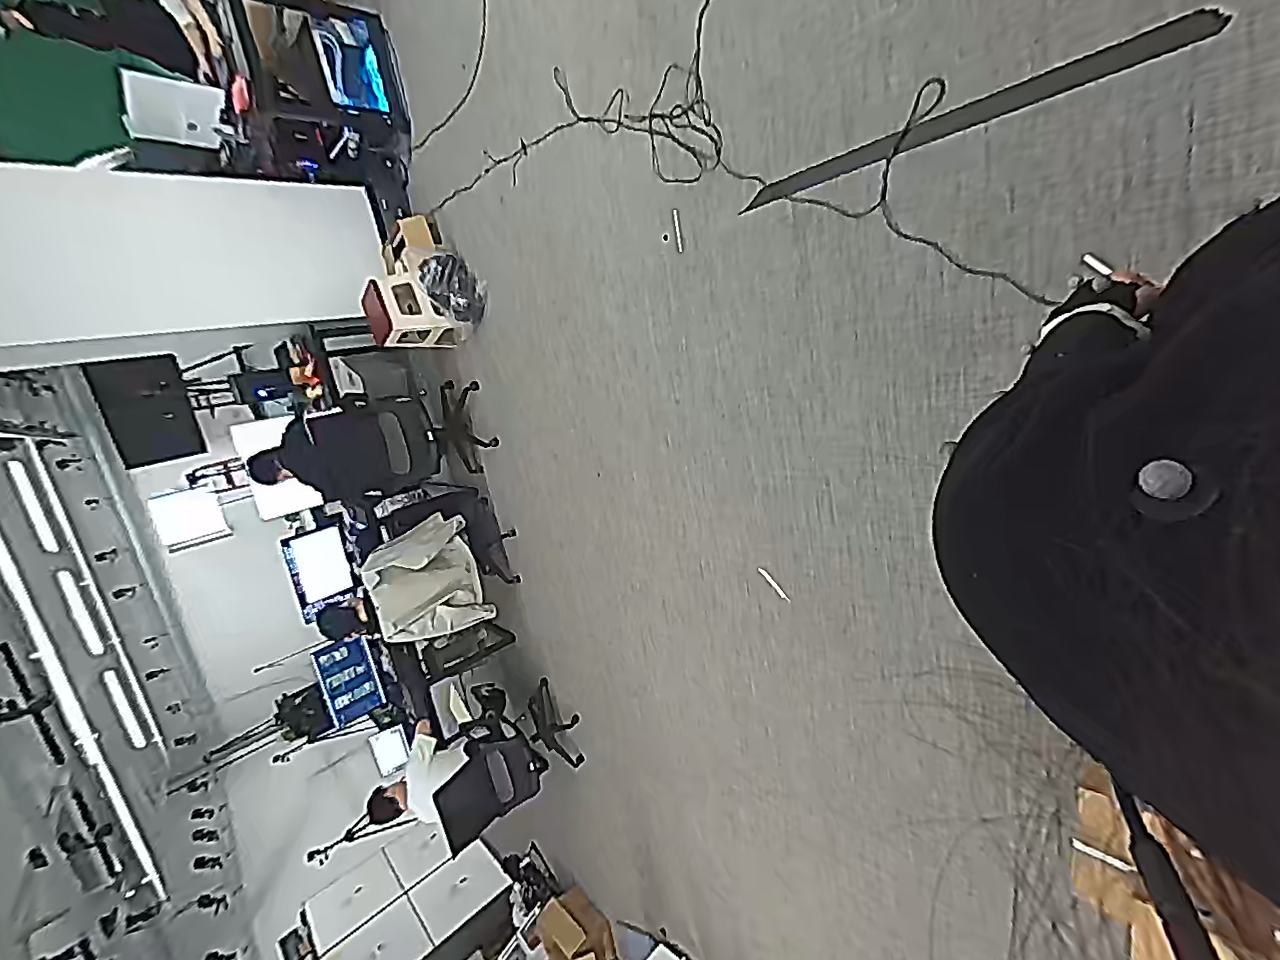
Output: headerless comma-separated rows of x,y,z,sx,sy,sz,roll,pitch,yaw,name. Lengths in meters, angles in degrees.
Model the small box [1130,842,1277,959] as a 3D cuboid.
1.030,0.817,0.990,0.179,0.176,0.168,3,107,50,small box
